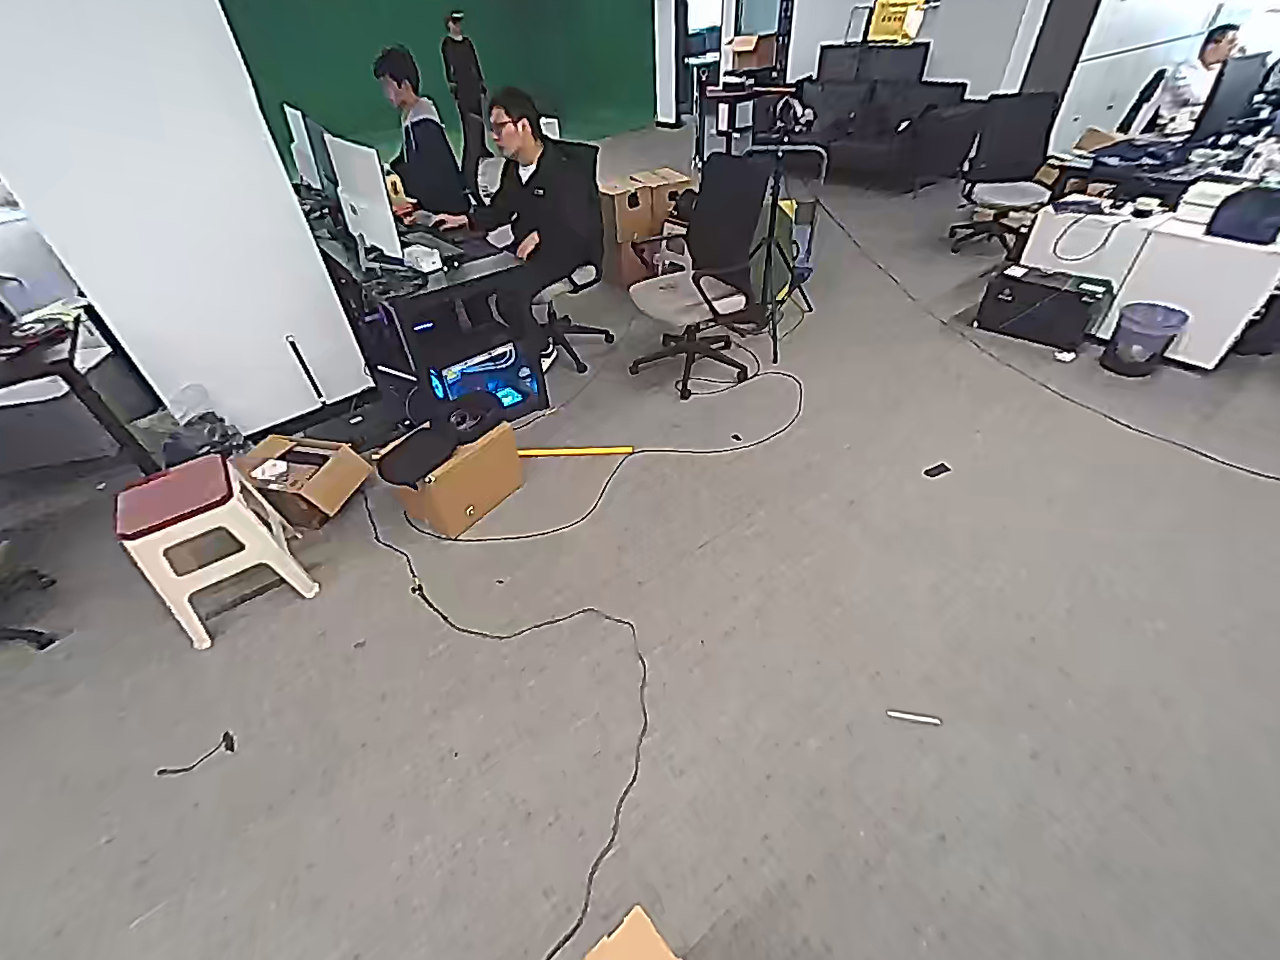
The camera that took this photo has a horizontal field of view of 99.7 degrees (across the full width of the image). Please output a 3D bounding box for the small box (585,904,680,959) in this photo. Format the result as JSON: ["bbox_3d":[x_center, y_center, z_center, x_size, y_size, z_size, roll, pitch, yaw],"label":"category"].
[{"bbox_3d":[-0.003,0.786,0.792,0.168,0.176,0.179,-32,49,-29],"label":"small box"}]
